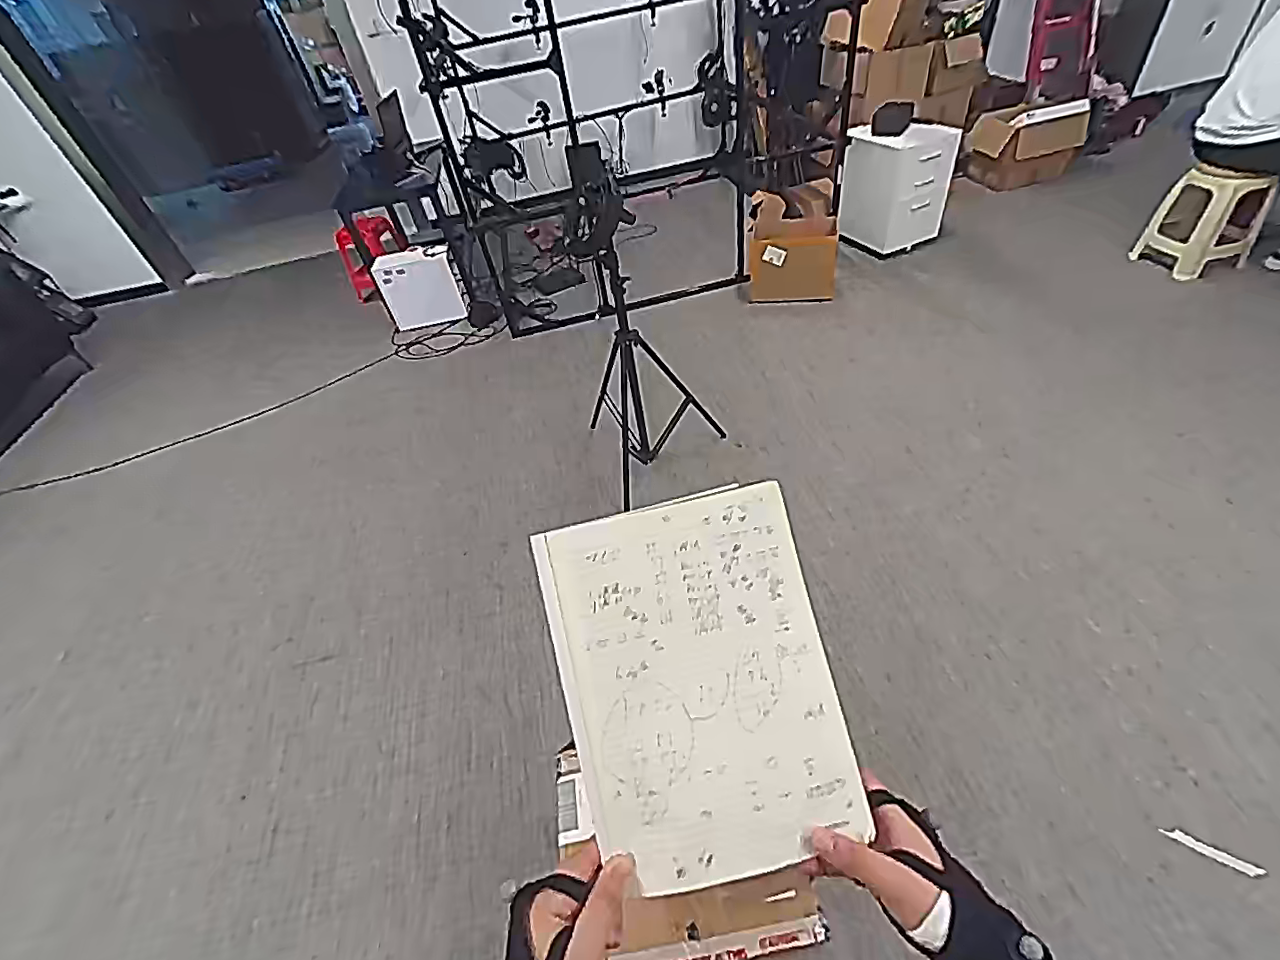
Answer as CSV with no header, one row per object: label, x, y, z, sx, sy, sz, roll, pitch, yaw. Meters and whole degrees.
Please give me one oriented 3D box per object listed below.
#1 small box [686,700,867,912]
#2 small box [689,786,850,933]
small box,0.160,0.419,0.697,0.168,0.176,0.179,-12,44,-5
small box,0.181,0.541,0.806,0.179,0.176,0.168,-15,45,-6
